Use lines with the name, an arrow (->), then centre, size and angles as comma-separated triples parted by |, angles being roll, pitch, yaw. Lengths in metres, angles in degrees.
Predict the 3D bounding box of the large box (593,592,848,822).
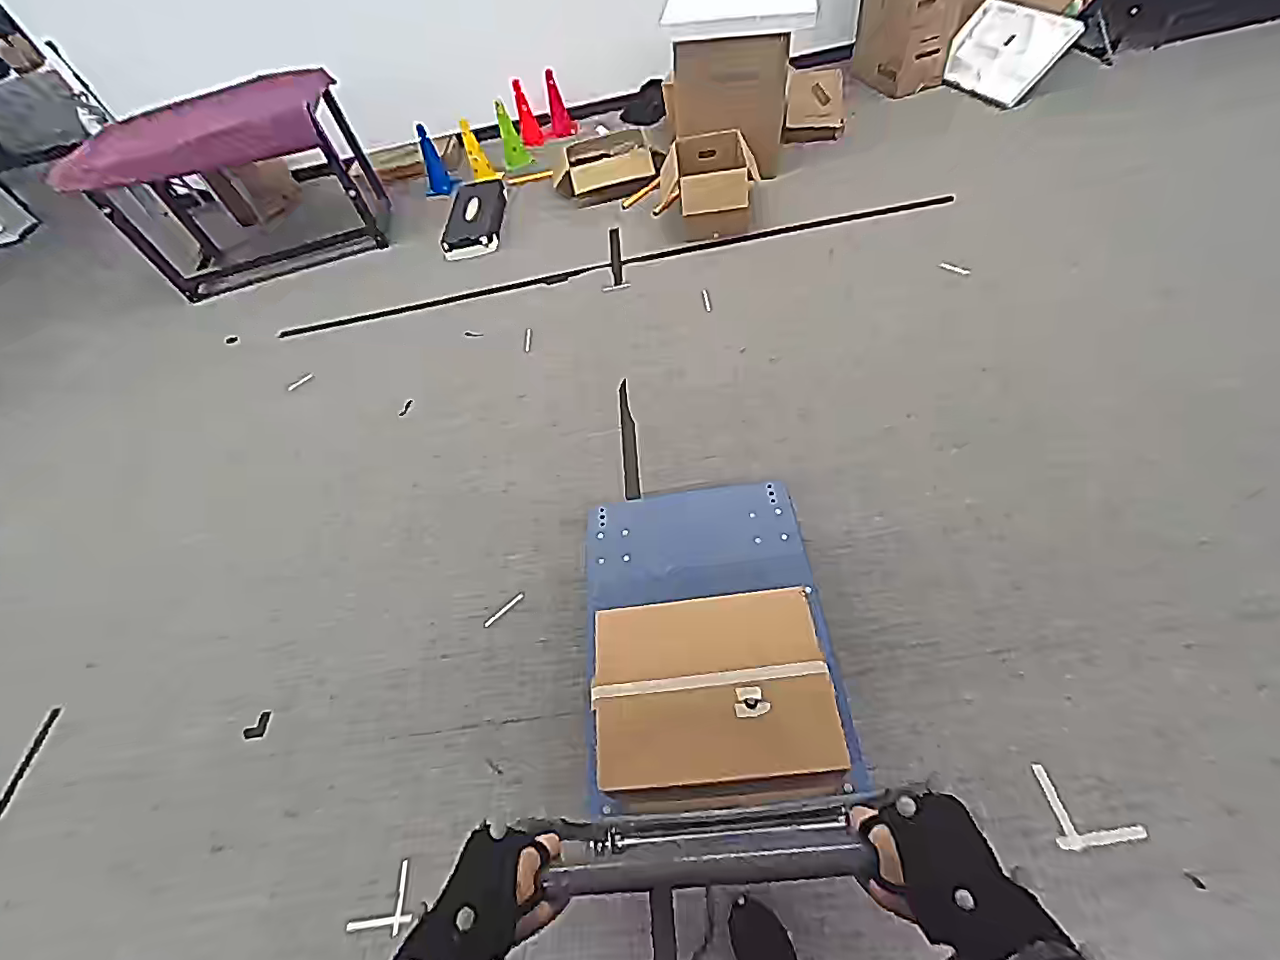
large box -> 0.136, 0.450, 1.050 | 0.408, 0.320, 0.320 | -8, 52, 4
